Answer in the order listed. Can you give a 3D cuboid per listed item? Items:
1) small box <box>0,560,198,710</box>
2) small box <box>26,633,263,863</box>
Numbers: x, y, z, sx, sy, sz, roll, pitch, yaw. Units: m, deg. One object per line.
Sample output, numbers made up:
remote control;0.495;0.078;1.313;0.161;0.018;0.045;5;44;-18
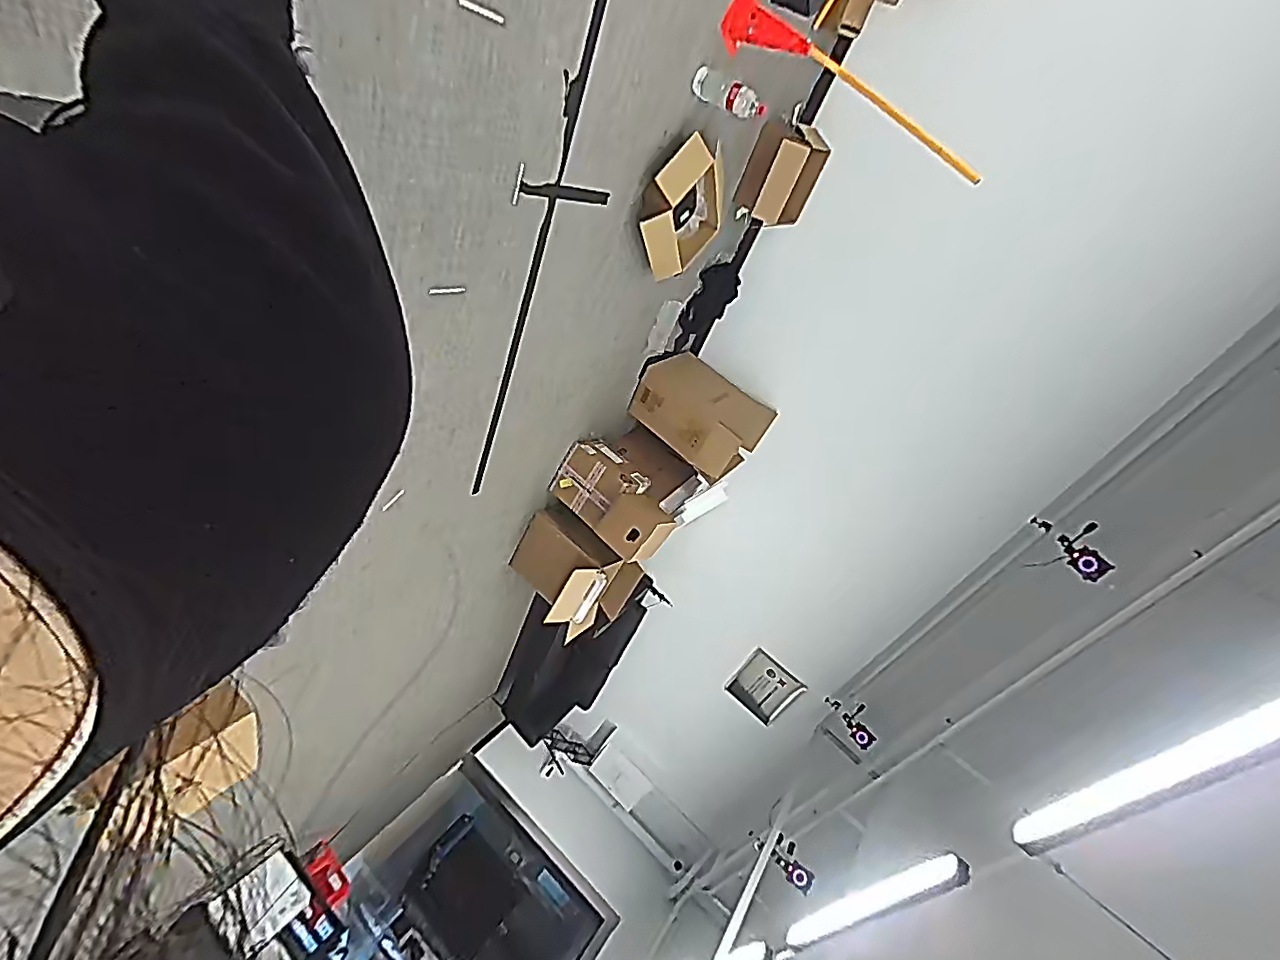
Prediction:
small box;-0.741;0.234;0.741;0.168;0.176;0.179;-31;155;-50
small box;-0.621;0.334;0.695;0.168;0.176;0.179;-32;155;-50
